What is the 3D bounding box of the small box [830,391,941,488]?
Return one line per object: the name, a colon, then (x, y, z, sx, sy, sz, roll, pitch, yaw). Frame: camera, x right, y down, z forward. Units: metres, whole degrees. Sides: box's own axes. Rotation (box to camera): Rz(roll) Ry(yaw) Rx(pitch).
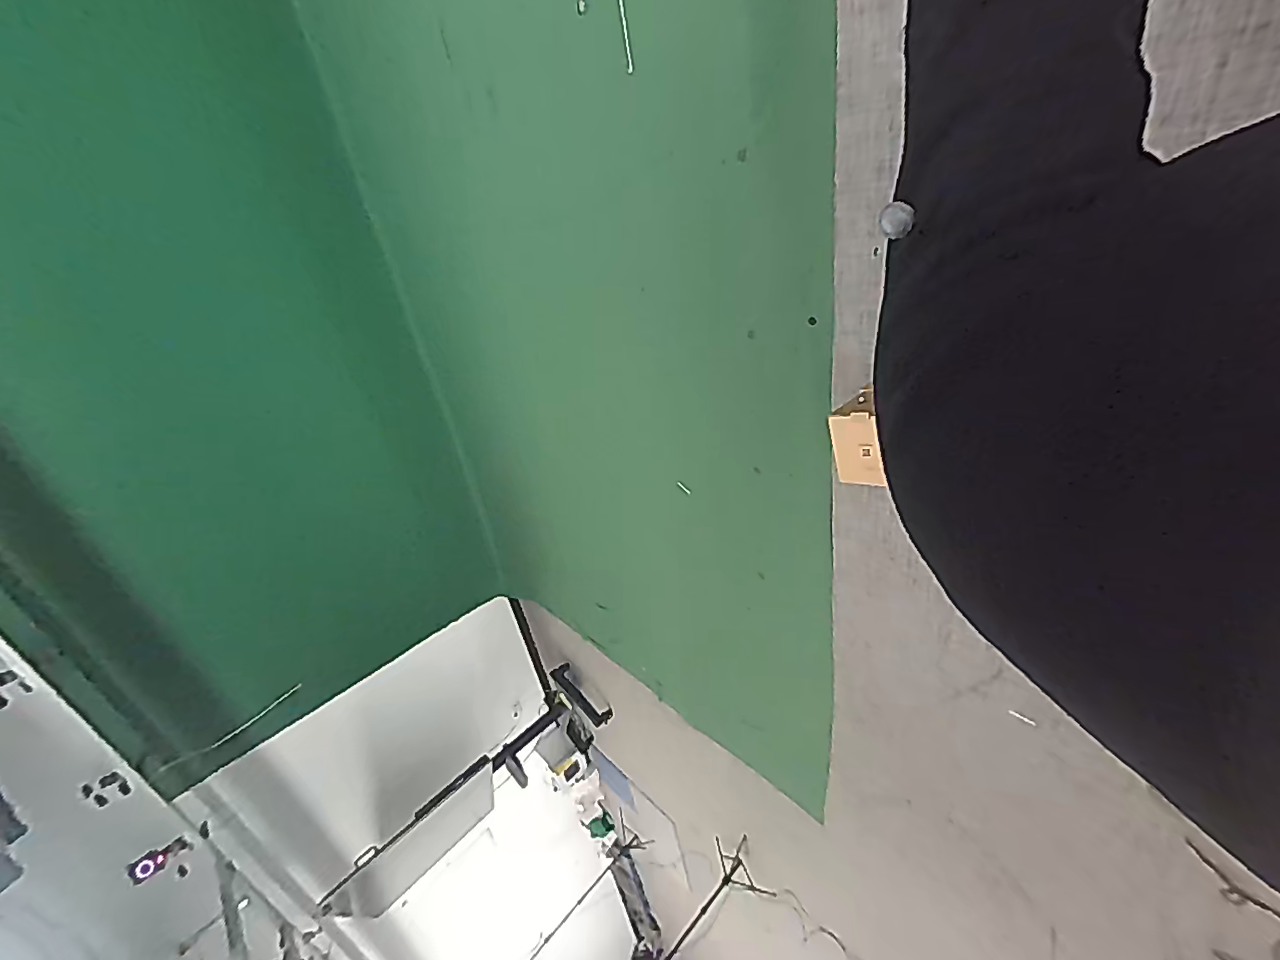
small box: (0.573, -0.101, 1.256, 0.168, 0.176, 0.179, 7, 122, 52)
